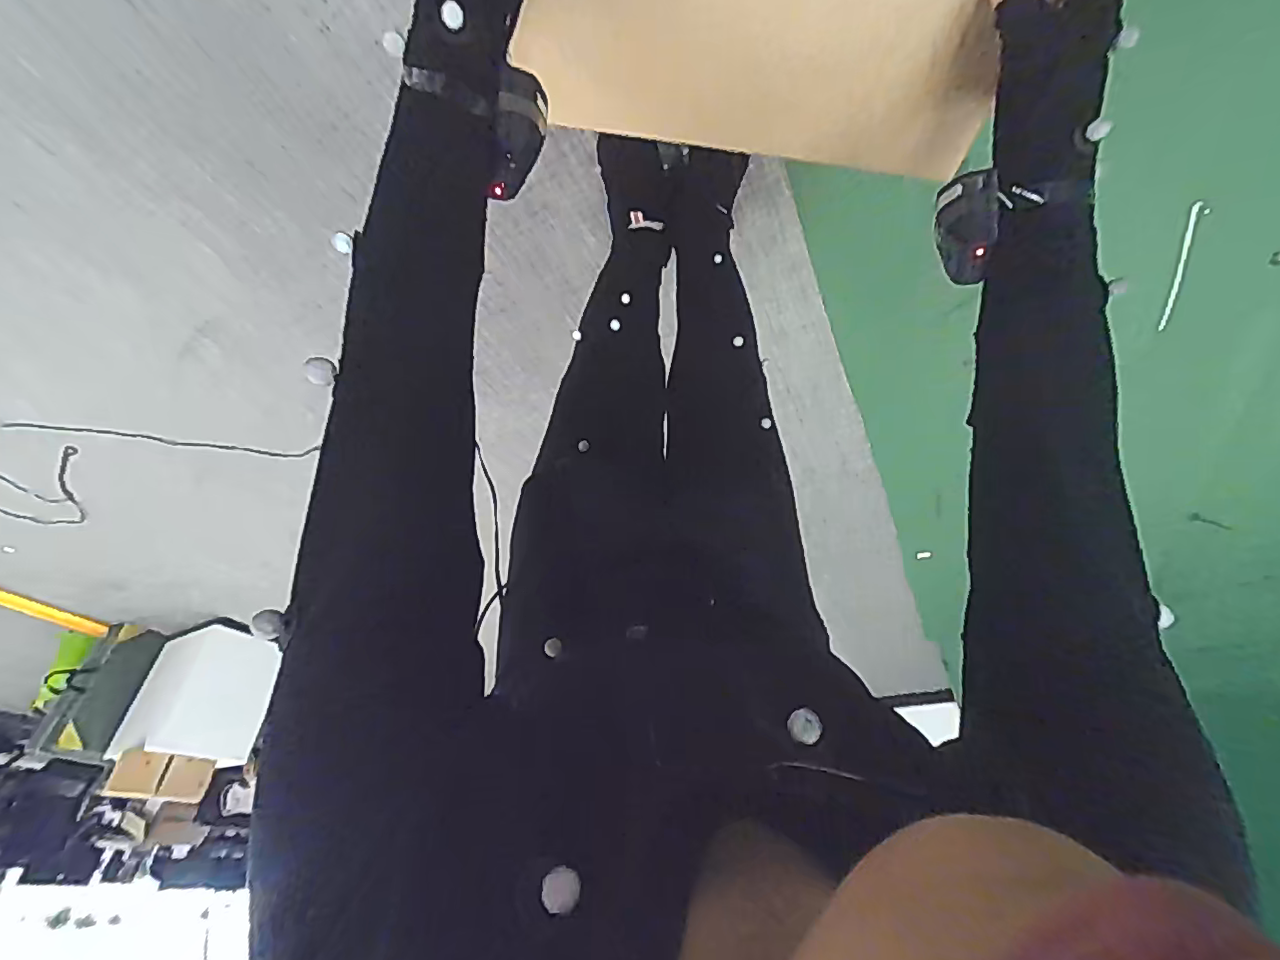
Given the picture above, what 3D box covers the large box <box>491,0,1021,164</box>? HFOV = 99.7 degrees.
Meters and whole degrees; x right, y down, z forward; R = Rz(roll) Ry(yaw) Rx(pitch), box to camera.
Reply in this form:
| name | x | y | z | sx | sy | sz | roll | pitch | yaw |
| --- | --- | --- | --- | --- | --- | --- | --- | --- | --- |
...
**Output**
| name | x | y | z | sx | sy | sz | roll | pitch | yaw |
| --- | --- | --- | --- | --- | --- | --- | --- | --- | --- |
| large box | 0.101 | -0.517 | 0.446 | 0.408 | 0.320 | 0.320 | 7 | 145 | -3 |
